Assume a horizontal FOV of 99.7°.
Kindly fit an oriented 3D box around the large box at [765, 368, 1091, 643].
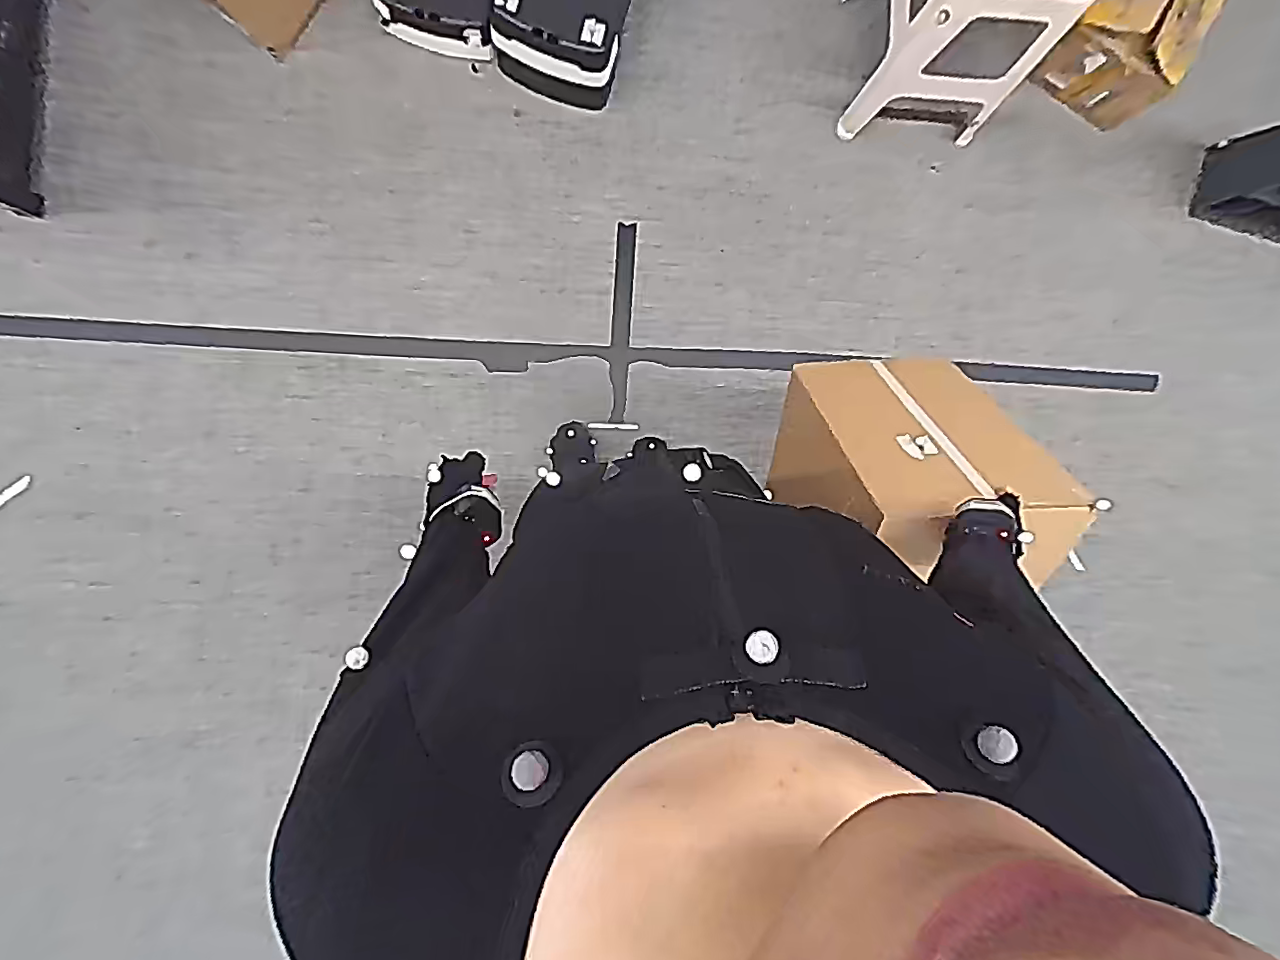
[{"bbox_3d":[0.453,0.034,0.983,0.320,0.408,0.320,-3,132,-5],"label":"large box"}]
